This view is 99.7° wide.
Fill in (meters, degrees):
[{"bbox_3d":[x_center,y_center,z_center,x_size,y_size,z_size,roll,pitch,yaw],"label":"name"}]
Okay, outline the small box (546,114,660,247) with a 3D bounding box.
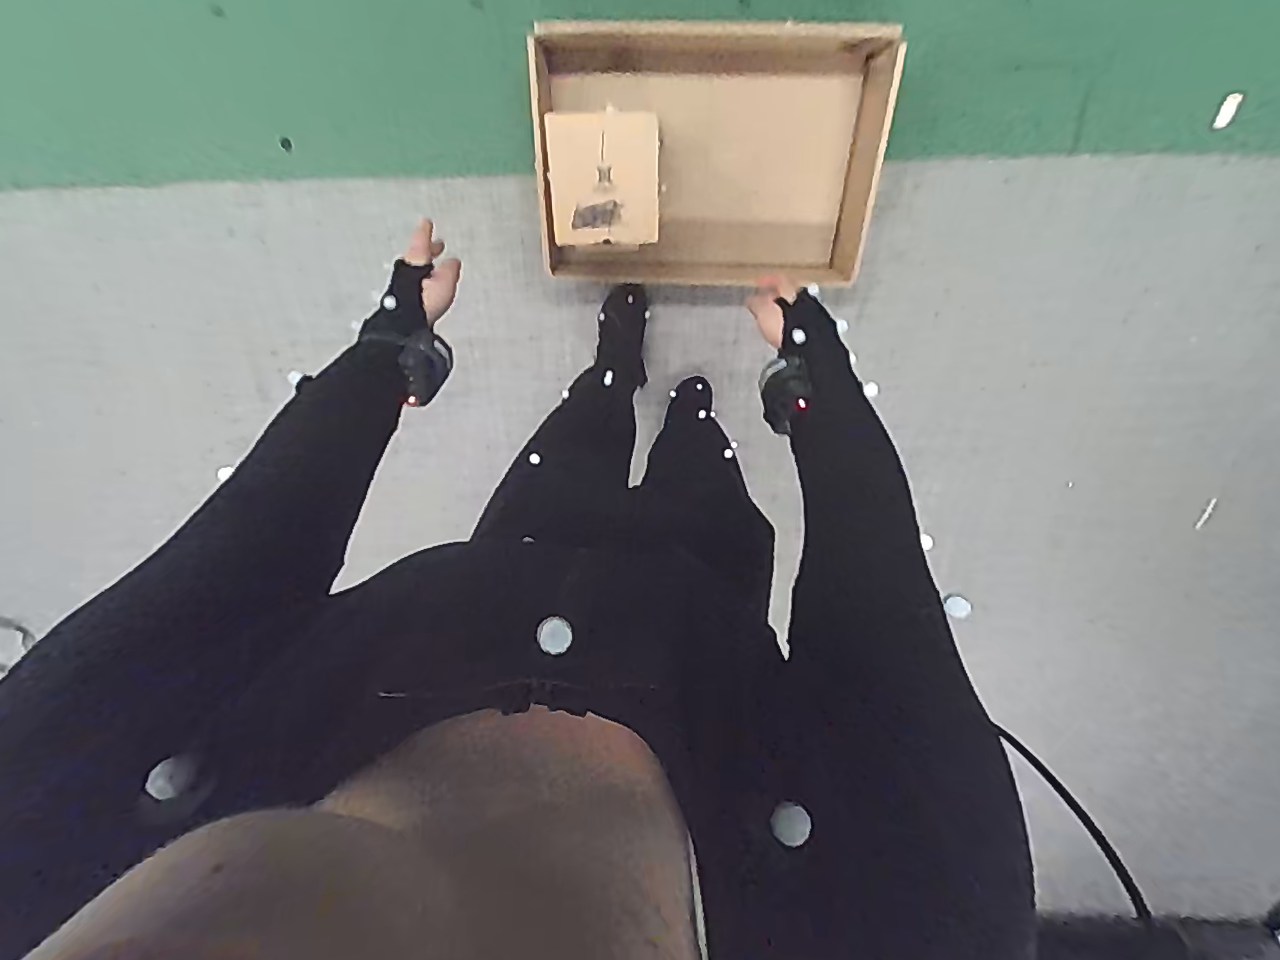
[{"bbox_3d":[-0.052,-0.484,0.876,0.168,0.176,0.179,0,120,0],"label":"small box"}]
